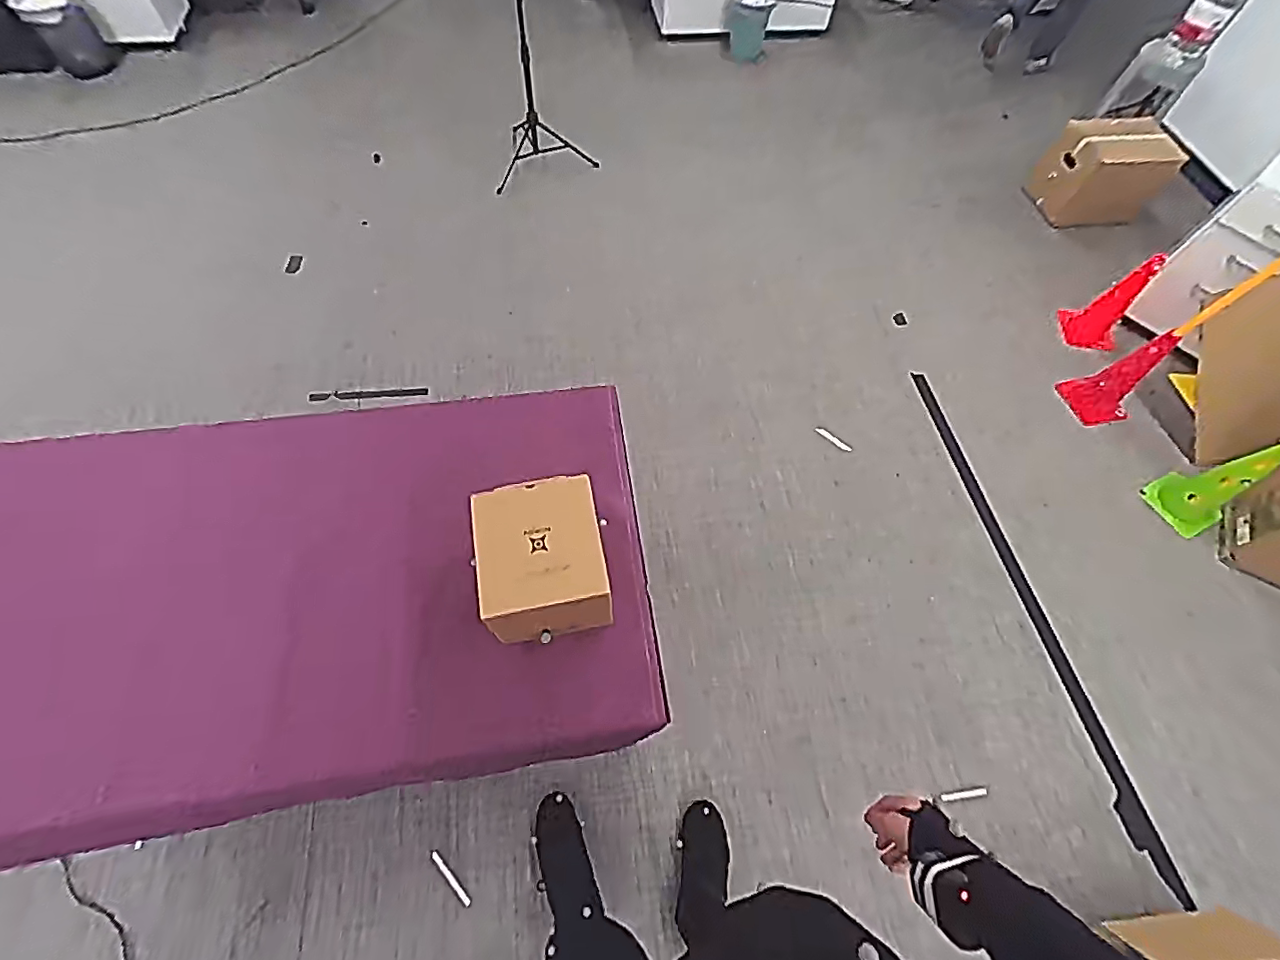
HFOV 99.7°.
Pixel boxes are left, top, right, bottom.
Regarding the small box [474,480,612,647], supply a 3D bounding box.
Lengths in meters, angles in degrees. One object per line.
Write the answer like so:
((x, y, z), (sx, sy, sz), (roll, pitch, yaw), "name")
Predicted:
((-0.136, 0.125, 0.786), (0.168, 0.176, 0.179), (-10, 62, -7), "small box")
